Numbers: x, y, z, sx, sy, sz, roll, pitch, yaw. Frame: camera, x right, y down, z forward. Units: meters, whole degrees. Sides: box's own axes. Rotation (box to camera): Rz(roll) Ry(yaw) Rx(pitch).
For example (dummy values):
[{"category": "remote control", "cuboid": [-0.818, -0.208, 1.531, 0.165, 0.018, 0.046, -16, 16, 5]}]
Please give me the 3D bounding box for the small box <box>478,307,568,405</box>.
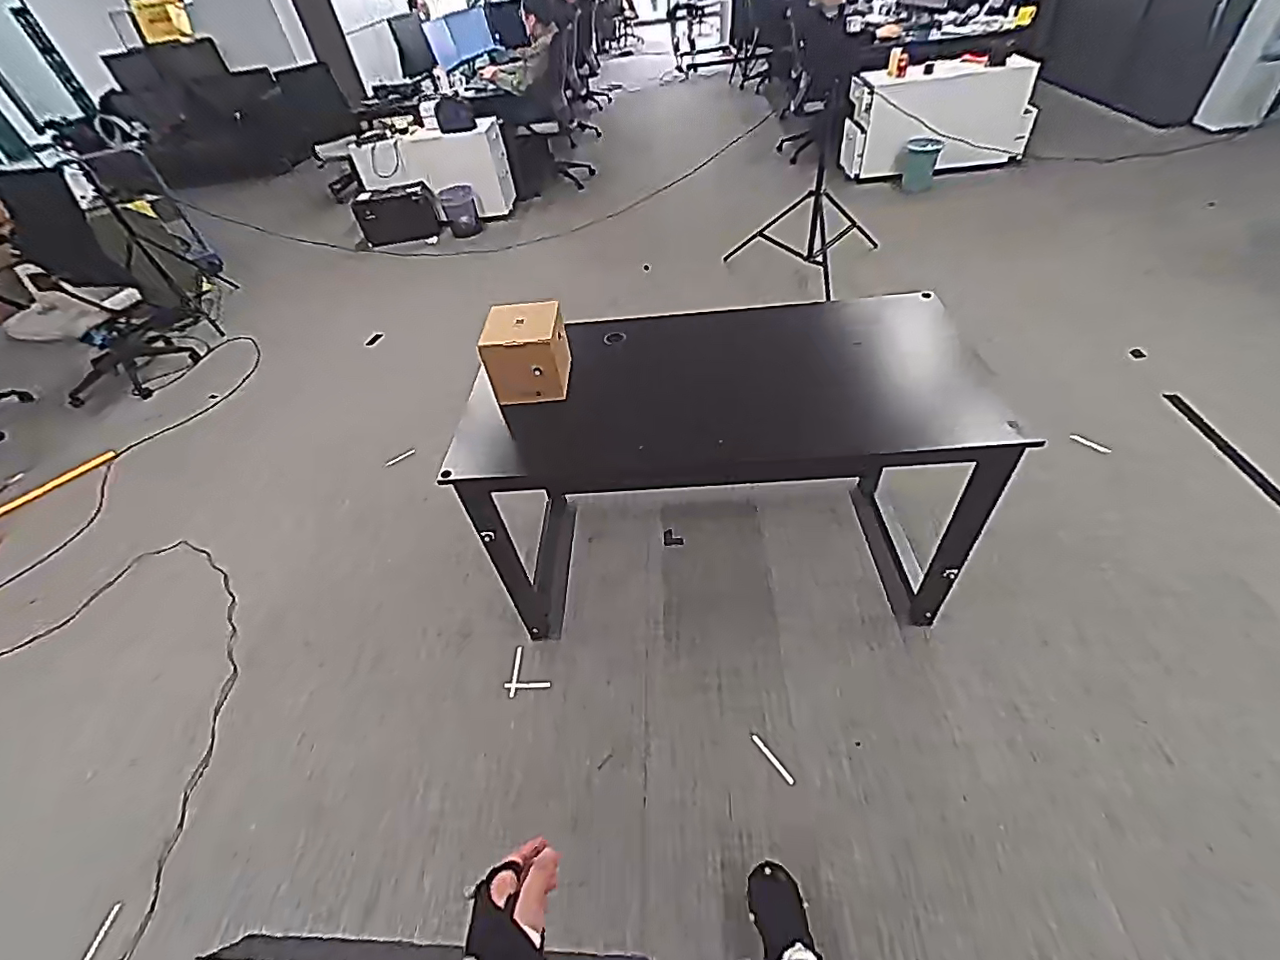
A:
[{"category": "small box", "cuboid": [-0.271, -0.293, 1.299, 0.168, 0.176, 0.179, -4, 45, 3]}]
